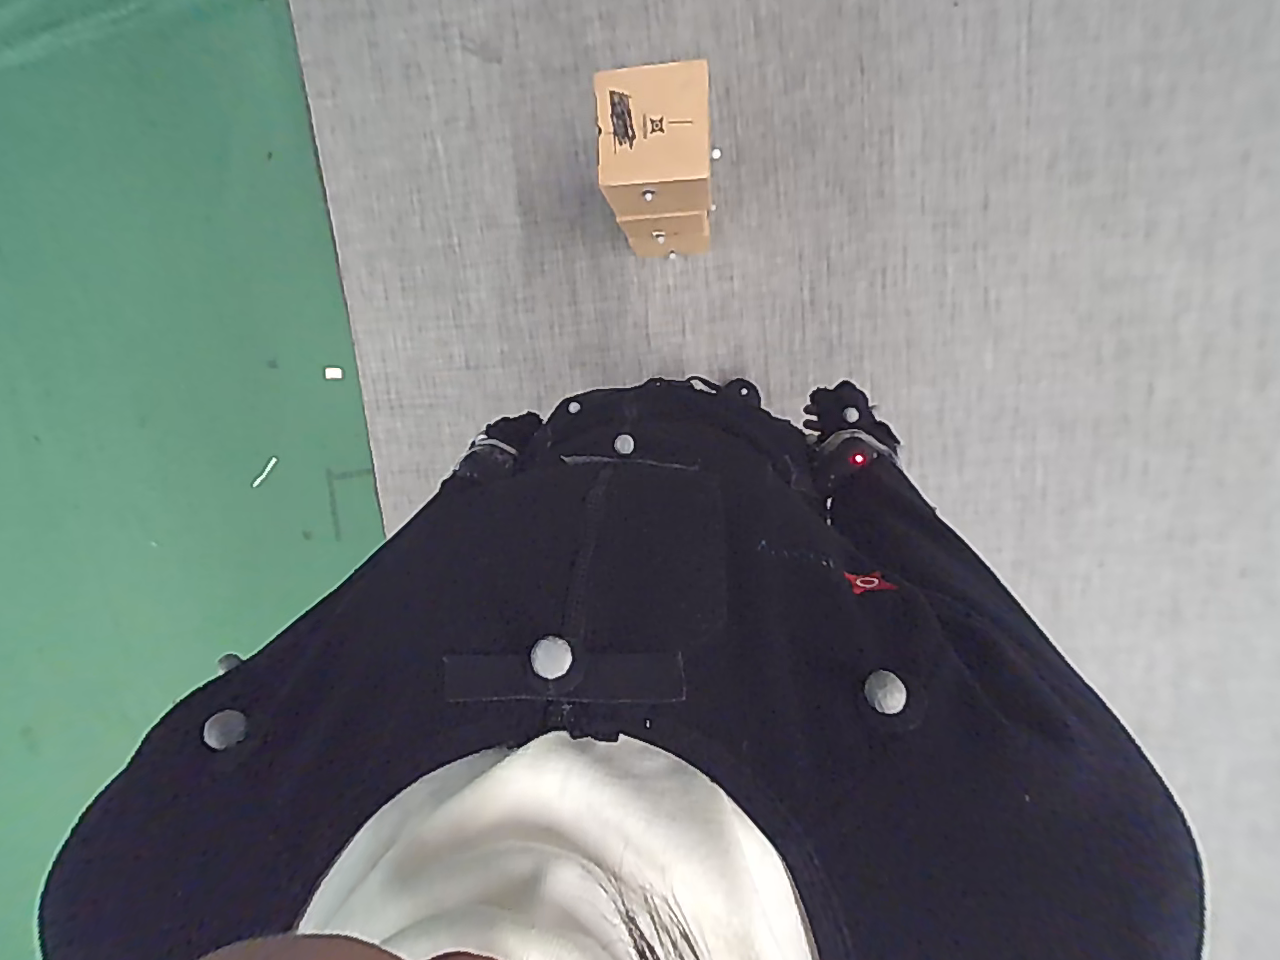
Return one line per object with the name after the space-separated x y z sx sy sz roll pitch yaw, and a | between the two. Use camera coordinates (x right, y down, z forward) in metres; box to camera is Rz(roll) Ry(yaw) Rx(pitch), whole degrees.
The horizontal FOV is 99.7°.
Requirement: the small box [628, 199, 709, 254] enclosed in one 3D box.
0.068 -0.621 1.232 0.179 0.176 0.168 0 101 7 | small box

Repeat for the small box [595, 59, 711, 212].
0.029 -0.566 0.912 0.179 0.176 0.168 0 101 8 | small box

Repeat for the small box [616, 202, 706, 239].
0.045 -0.596 1.073 0.168 0.176 0.179 -1 102 9 | small box
